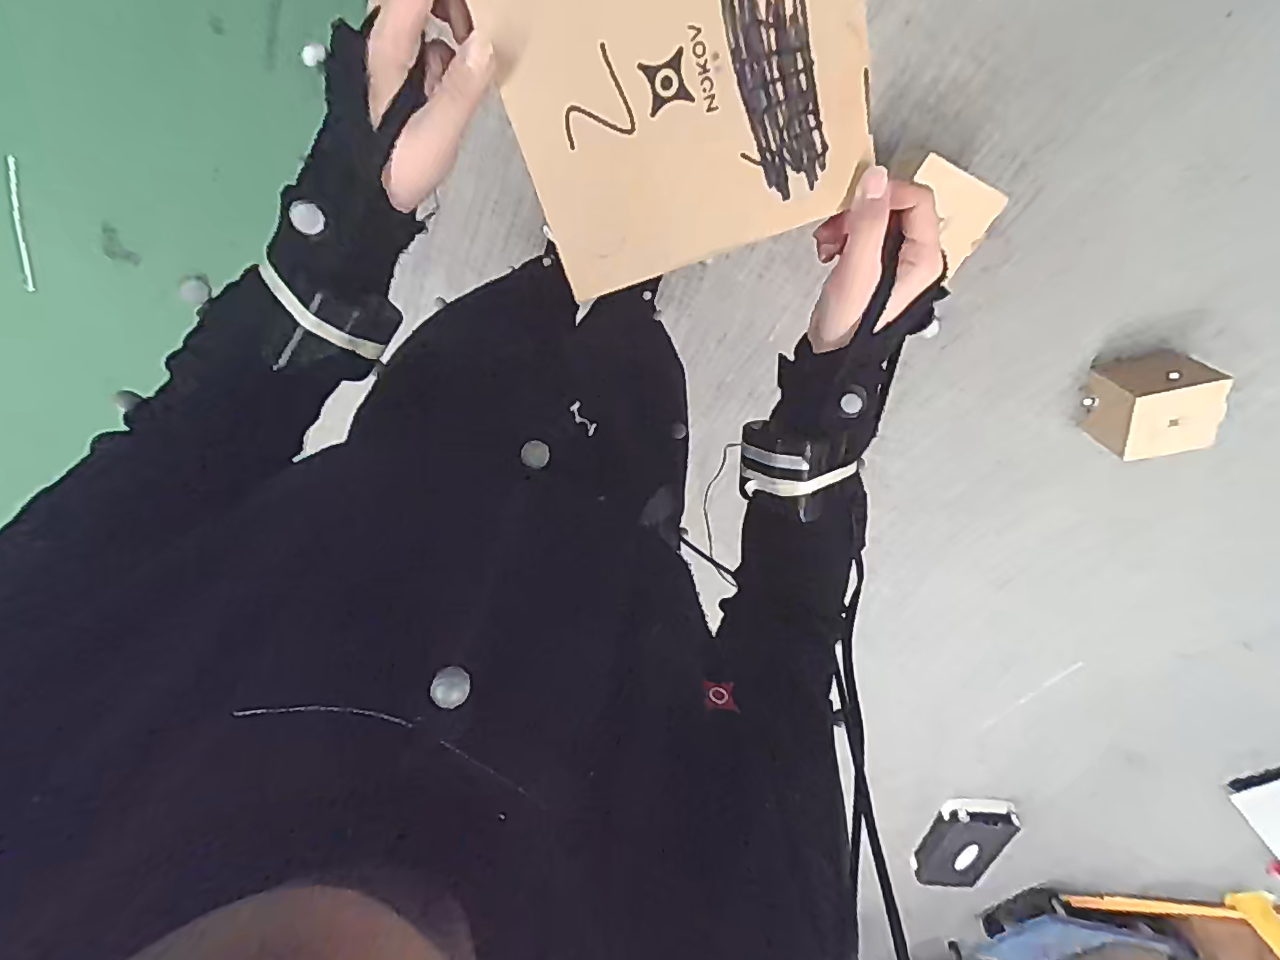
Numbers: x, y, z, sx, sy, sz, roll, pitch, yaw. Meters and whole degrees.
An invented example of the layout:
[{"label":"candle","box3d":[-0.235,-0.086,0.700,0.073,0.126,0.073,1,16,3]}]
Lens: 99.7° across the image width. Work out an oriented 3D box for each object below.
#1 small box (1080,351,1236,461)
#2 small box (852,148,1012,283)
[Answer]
[{"label":"small box","box3d":[1.139,-0.170,1.206,0.179,0.176,0.168,-12,122,13]},{"label":"small box","box3d":[0.531,-0.501,1.017,0.179,0.176,0.168,21,123,-11]}]
